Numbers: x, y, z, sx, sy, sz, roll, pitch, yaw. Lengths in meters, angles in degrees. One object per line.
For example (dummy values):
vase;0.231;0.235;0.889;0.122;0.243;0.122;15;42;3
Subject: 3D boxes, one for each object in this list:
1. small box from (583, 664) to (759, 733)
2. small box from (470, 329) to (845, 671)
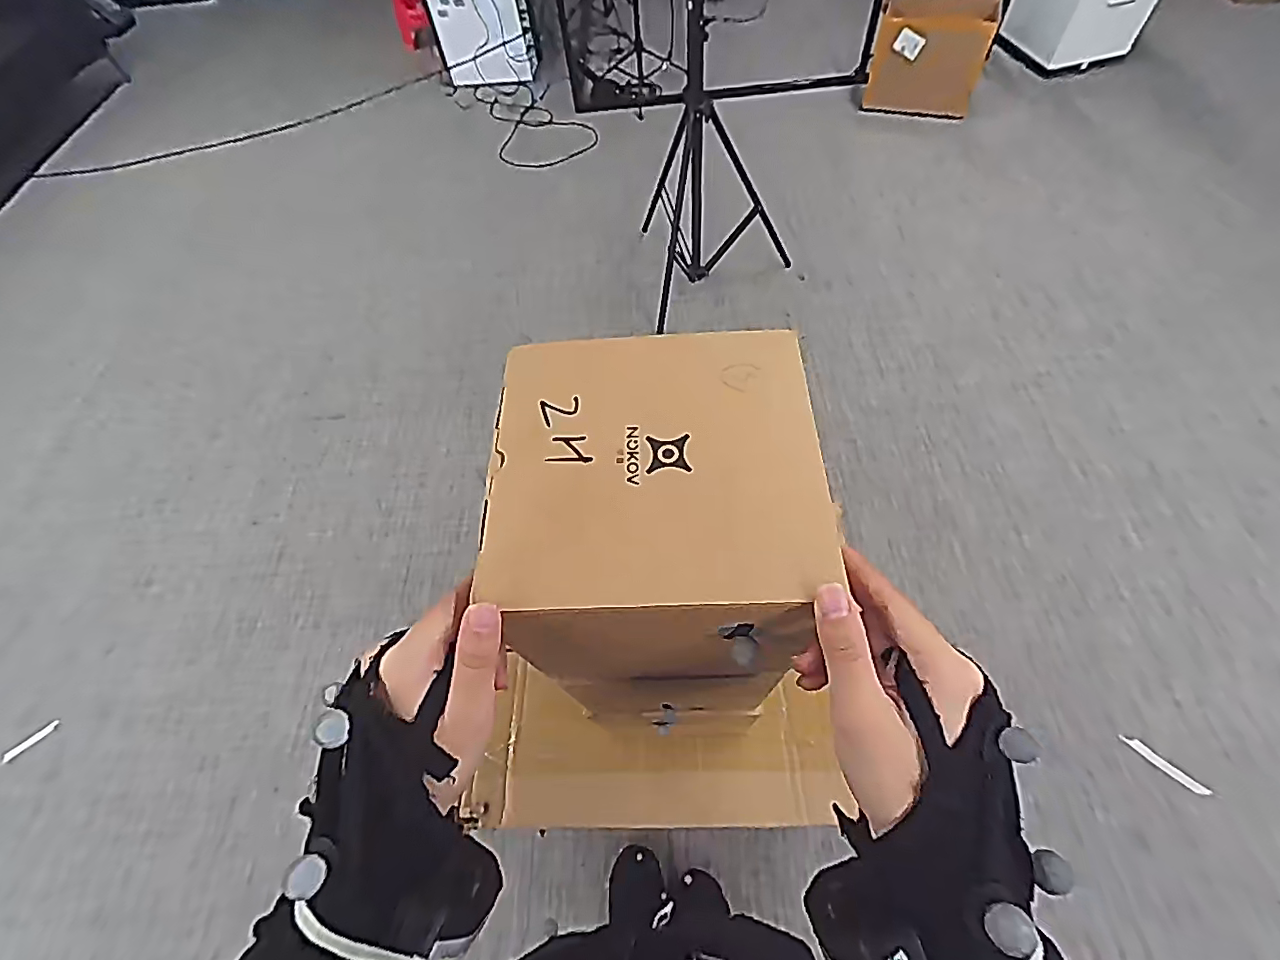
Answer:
small box;0.037;0.198;0.634;0.179;0.176;0.168;-2;59;3
small box;0.012;0.024;0.355;0.179;0.176;0.168;-3;60;4
